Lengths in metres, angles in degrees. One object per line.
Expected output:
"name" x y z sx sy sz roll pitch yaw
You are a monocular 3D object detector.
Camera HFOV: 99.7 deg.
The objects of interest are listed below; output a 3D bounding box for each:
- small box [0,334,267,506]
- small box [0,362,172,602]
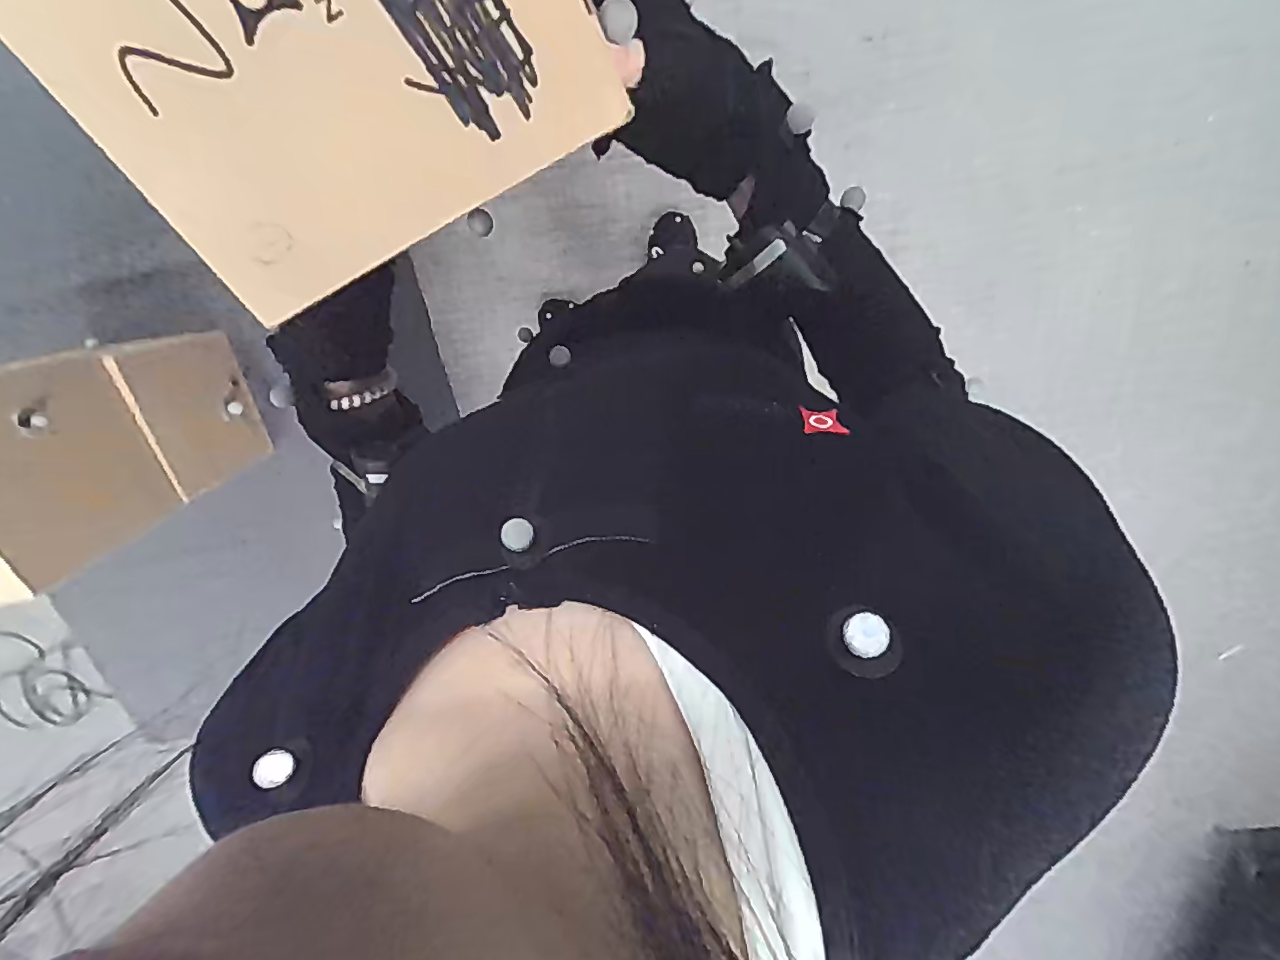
"small box" -0.594 -0.069 0.632 0.179 0.176 0.168 -7 113 1
"small box" -0.592 -0.001 0.483 0.168 0.176 0.179 -9 113 3
